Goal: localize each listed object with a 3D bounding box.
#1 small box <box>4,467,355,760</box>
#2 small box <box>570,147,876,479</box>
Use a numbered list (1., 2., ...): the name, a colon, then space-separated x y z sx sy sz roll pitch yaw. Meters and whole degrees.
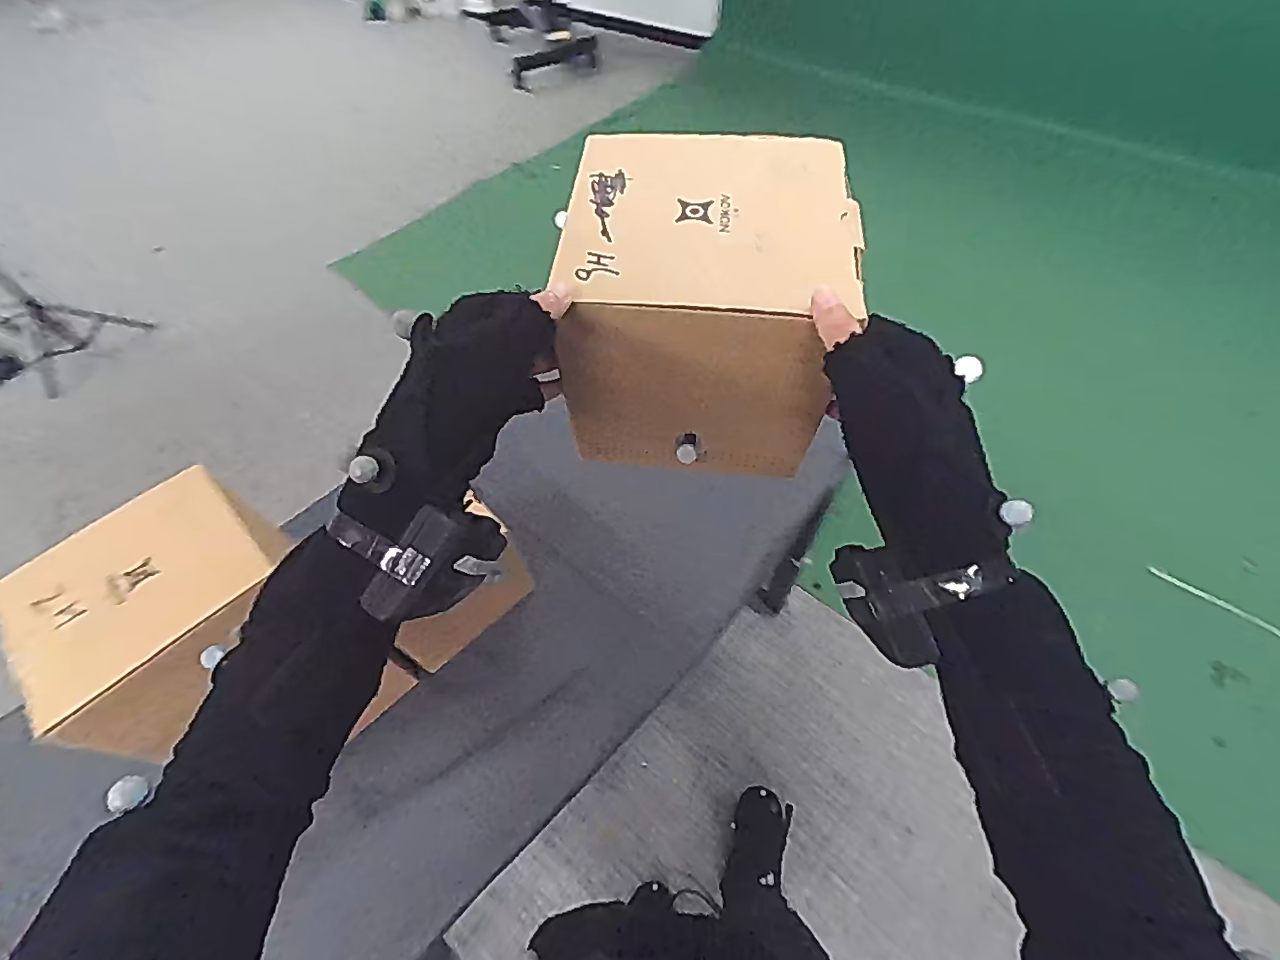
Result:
1. small box: -0.405 0.128 0.512 0.168 0.176 0.179 37 64 25
2. small box: 0.054 -0.116 0.411 0.179 0.176 0.168 7 59 3
